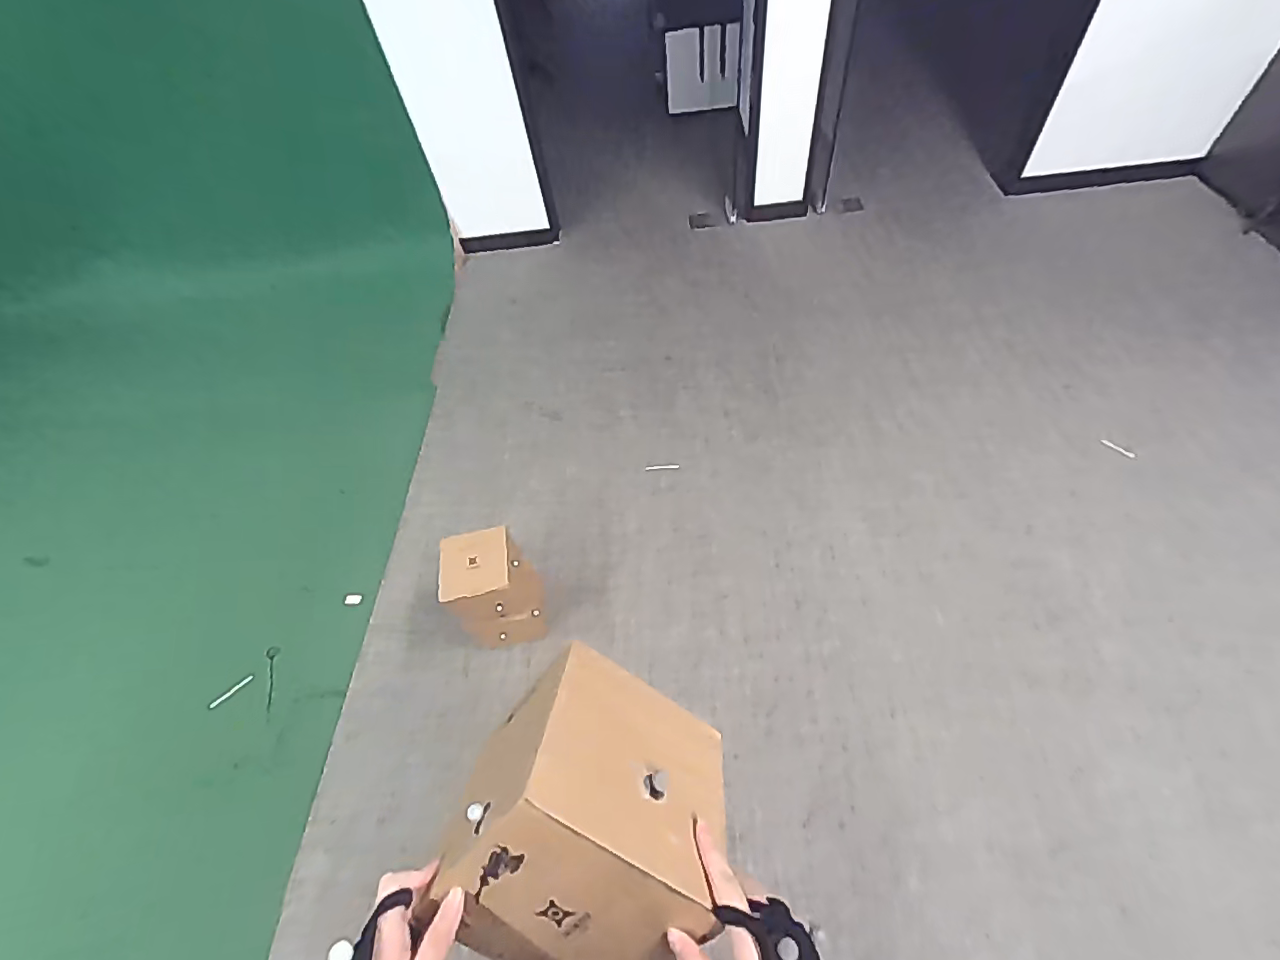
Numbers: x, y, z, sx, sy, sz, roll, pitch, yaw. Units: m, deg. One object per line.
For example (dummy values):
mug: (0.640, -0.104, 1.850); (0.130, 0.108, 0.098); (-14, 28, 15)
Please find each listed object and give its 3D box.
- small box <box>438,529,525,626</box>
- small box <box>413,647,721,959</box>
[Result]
small box: (-0.392, 0.253, 1.362); (0.168, 0.176, 0.179); (-11, 53, -2)
small box: (-0.050, 0.282, 0.469); (0.179, 0.168, 0.176); (36, 20, -8)
